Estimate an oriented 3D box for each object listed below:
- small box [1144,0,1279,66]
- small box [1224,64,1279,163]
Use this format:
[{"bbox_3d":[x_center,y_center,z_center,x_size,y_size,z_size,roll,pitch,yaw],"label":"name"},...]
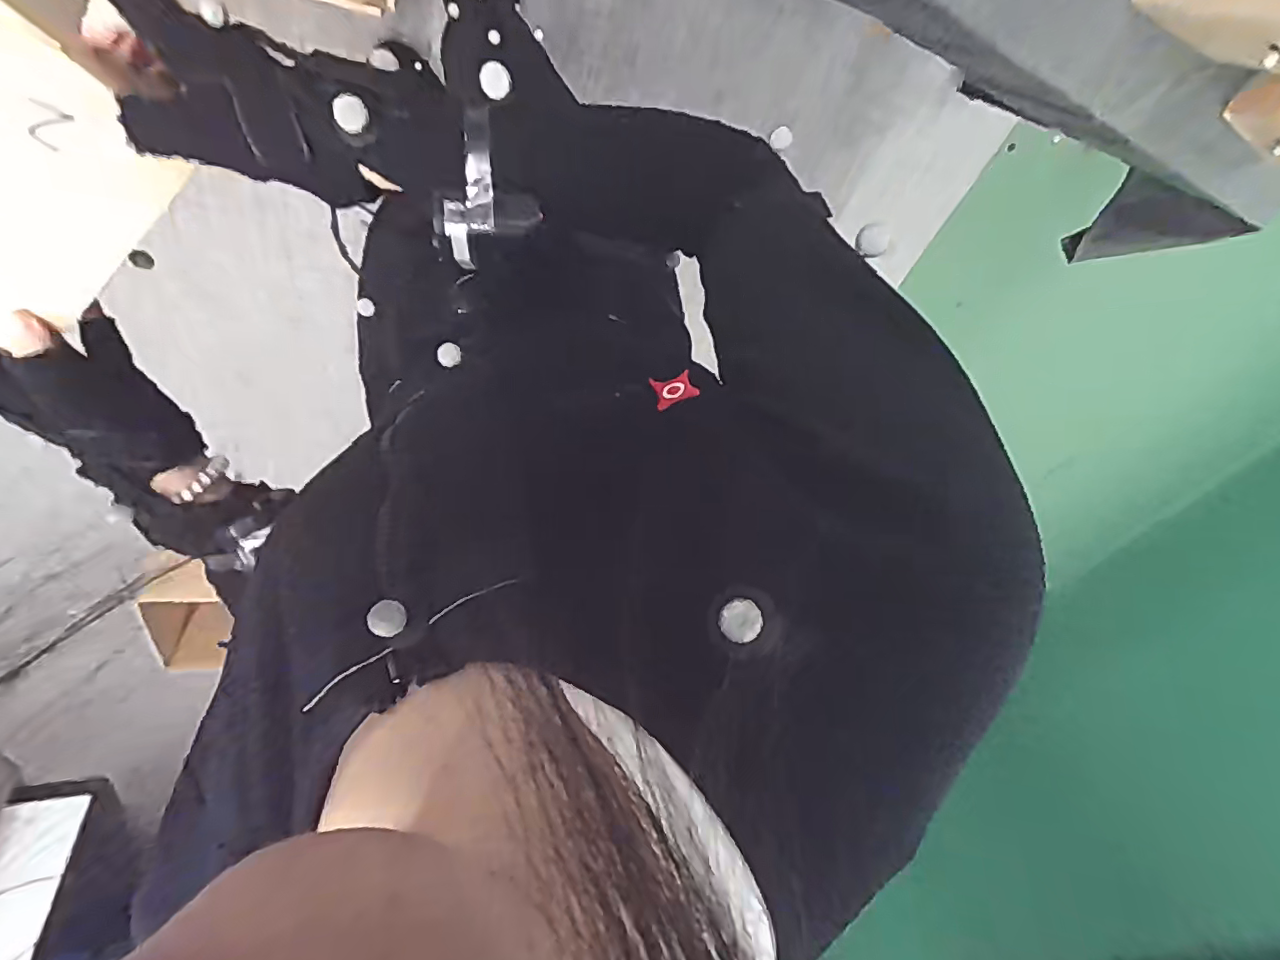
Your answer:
[{"bbox_3d":[0.635,-0.500,0.494,0.179,0.176,0.168,2,135,-24],"label":"small box"},{"bbox_3d":[0.862,-0.467,0.622,0.168,0.176,0.179,8,133,-28],"label":"small box"}]
